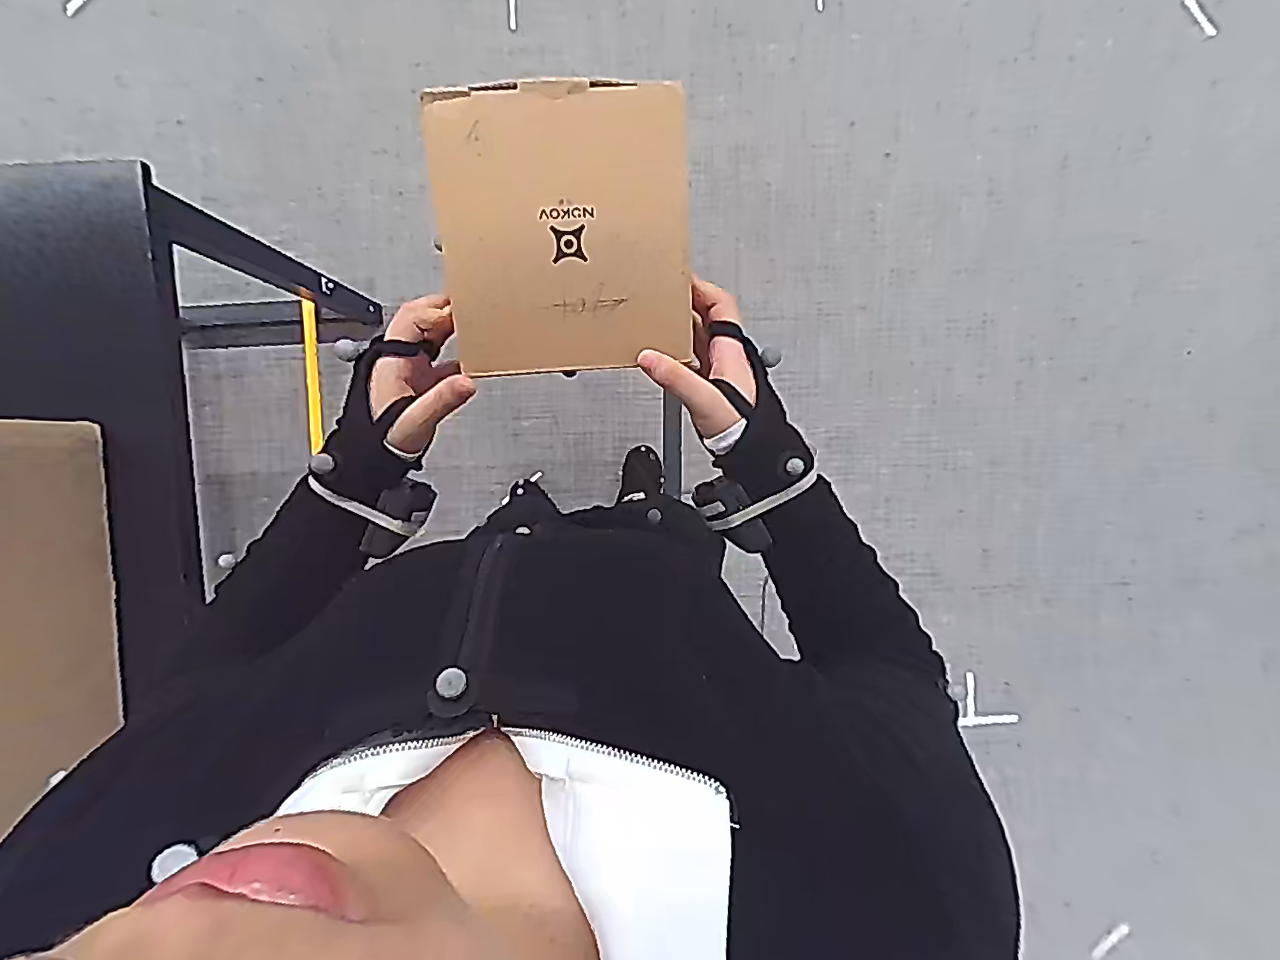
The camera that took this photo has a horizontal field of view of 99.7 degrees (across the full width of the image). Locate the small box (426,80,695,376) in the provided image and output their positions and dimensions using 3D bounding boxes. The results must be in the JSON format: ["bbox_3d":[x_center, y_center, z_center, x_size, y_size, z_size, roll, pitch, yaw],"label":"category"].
[{"bbox_3d":[-0.053,-0.182,0.428,0.168,0.176,0.179,-4,108,-4],"label":"small box"}]
